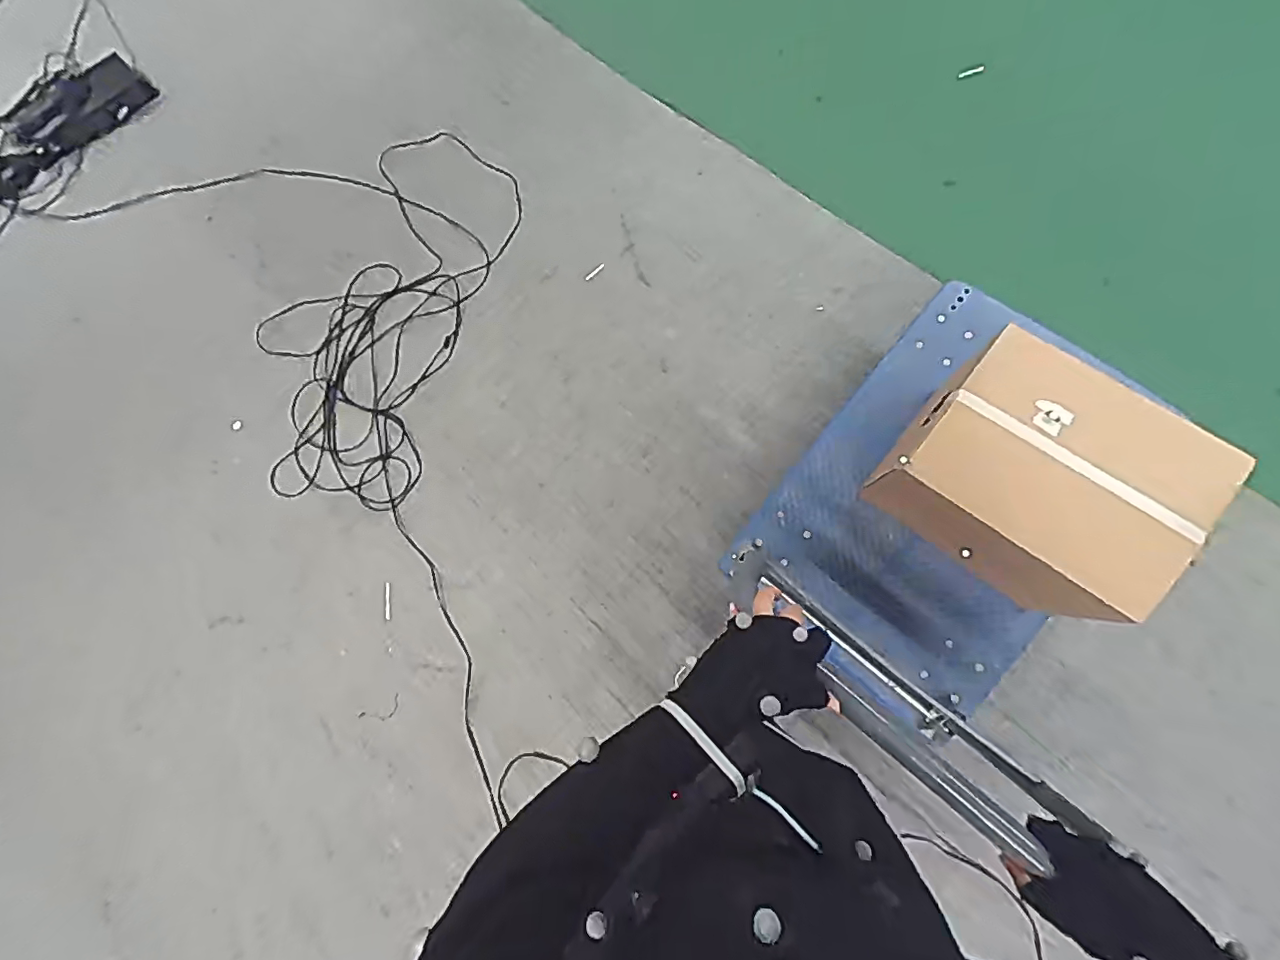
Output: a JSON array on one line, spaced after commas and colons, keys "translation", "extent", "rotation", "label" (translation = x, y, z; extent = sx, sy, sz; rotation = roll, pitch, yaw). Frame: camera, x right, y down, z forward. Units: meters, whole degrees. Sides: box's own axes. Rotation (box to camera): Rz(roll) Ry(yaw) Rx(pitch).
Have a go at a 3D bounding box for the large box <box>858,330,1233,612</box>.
[{"translation": [0.700, -0.002, 1.019], "extent": [0.408, 0.320, 0.320], "rotation": [36, 87, 14], "label": "large box"}]
